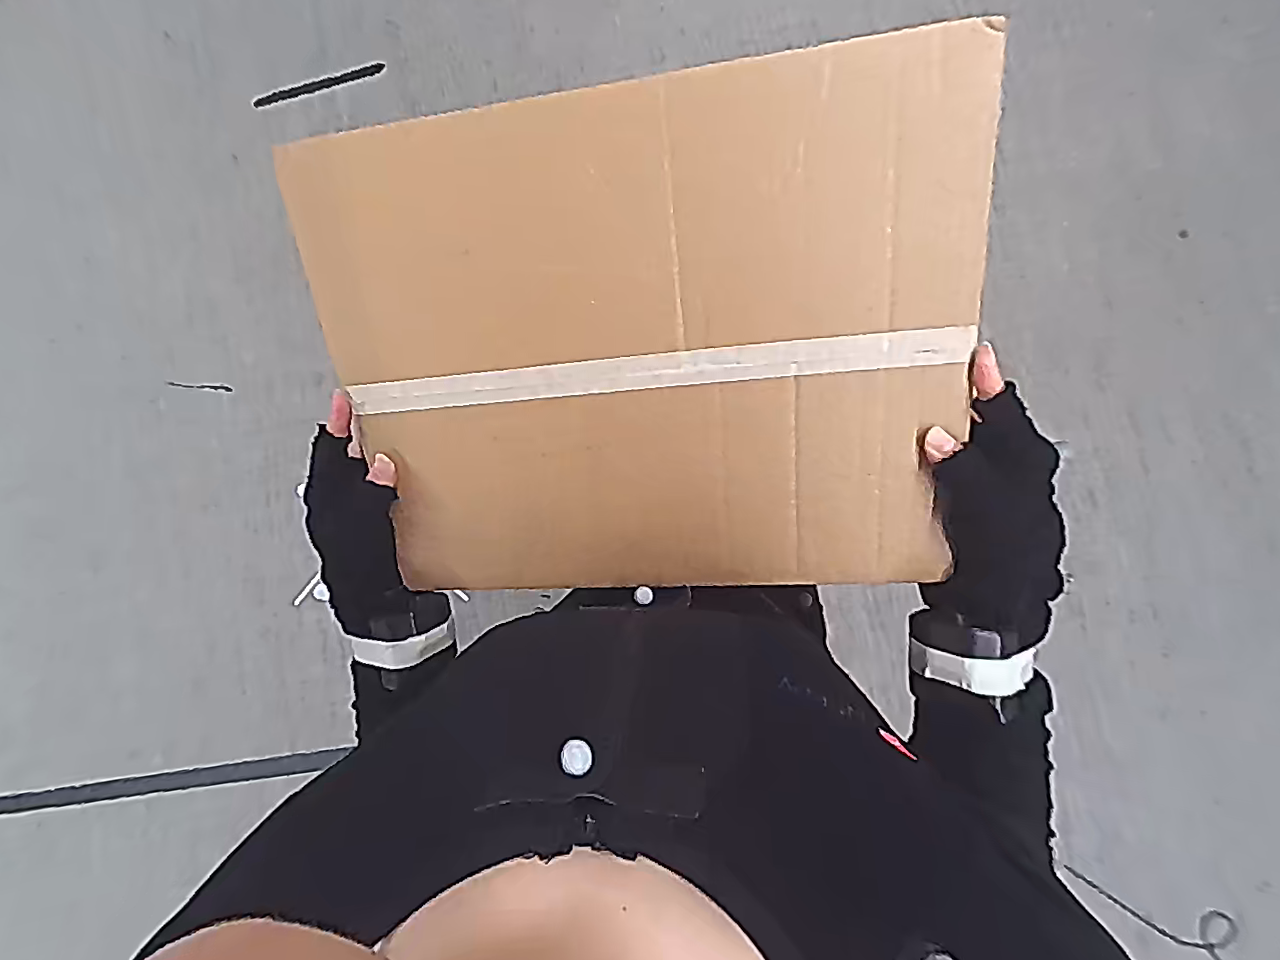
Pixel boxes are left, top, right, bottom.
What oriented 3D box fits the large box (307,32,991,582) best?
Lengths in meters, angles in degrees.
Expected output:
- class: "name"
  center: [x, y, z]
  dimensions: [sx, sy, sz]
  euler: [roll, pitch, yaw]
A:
- class: "large box"
  center: [0.019, -0.122, 0.493]
  dimensions: [0.408, 0.320, 0.320]
  euler: [-3, 111, 10]
